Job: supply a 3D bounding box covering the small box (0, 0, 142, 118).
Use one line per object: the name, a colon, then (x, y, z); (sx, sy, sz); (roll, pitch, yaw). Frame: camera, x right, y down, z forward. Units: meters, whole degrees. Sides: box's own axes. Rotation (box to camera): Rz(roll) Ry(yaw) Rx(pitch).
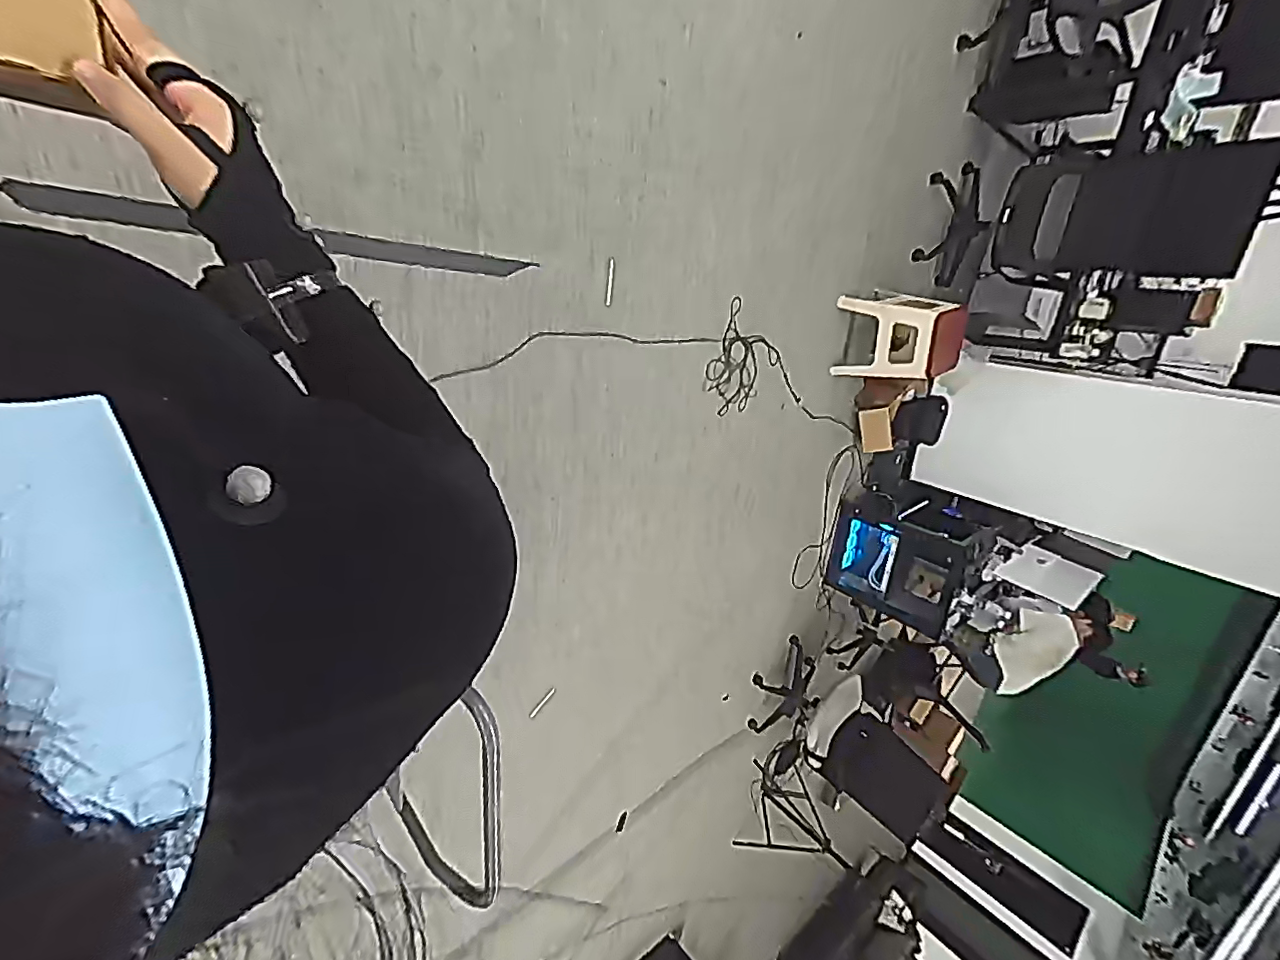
small box: (-0.421, -0.347, 0.320); (0.168, 0.176, 0.179); (-7, 115, -37)
